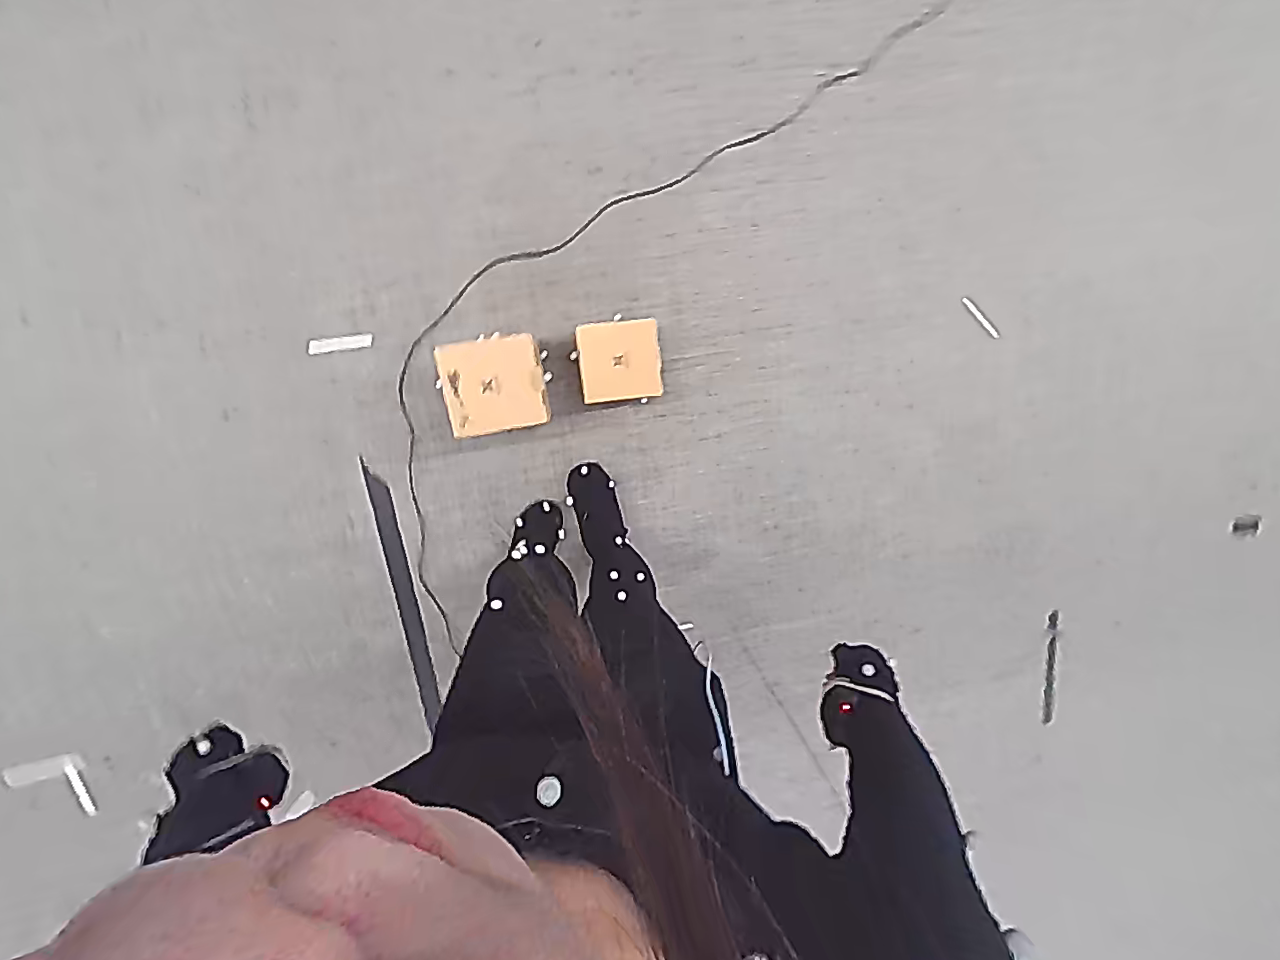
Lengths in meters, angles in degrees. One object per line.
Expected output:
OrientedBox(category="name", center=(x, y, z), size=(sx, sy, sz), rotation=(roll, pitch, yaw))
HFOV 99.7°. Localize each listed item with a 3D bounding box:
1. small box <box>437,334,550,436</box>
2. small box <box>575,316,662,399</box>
OrientedBox(category="small box", center=(-0.276, -0.190, 1.060), size=(0.179, 0.176, 0.168), rotation=(-11, 103, -6))
OrientedBox(category="small box", center=(-0.056, -0.279, 1.246), size=(0.179, 0.176, 0.168), rotation=(-9, 103, -8))
